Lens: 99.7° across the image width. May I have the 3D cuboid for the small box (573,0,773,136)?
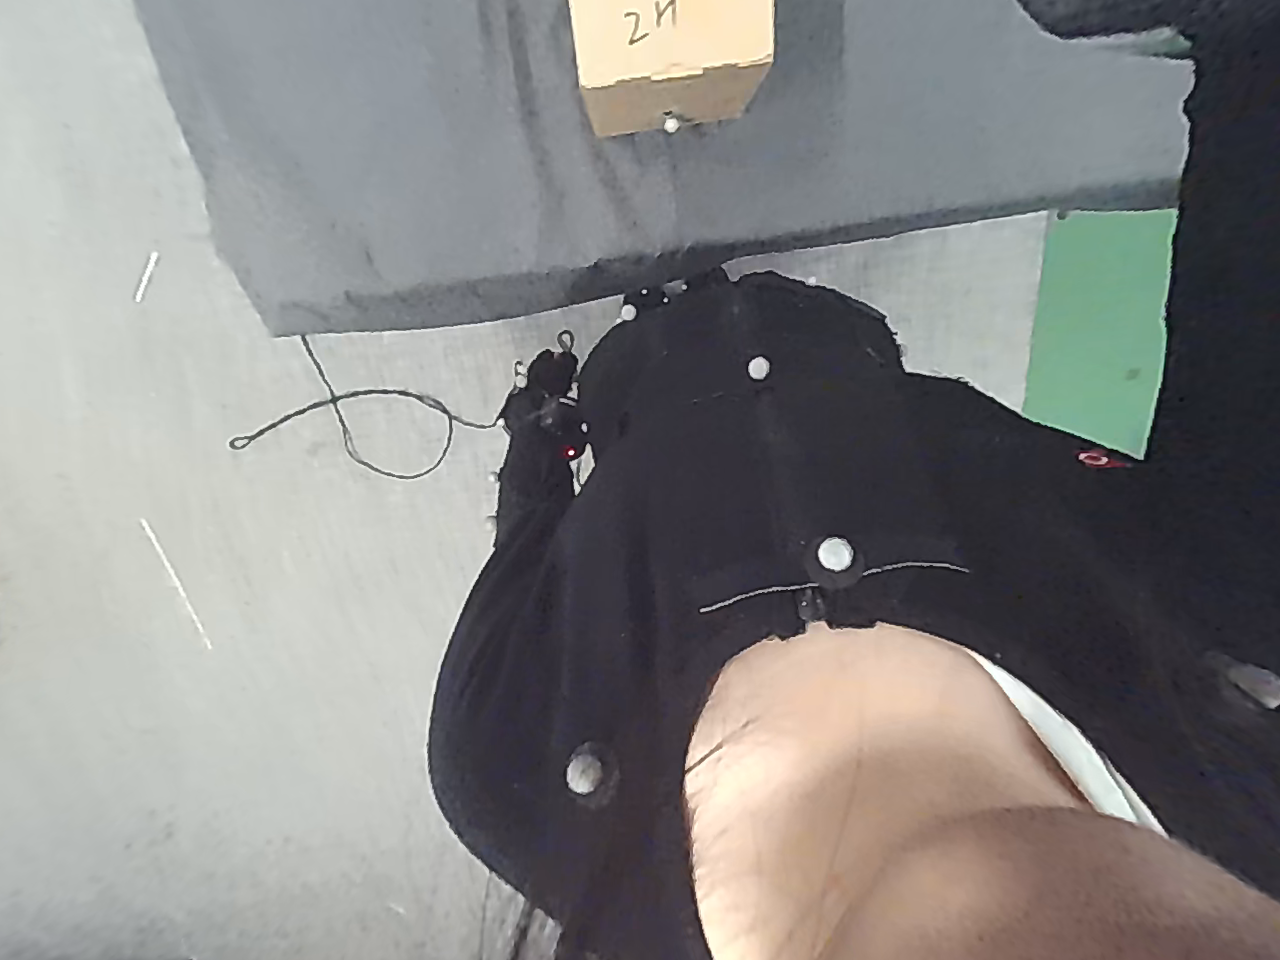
[{"bbox_3d":[0.023,-0.449,0.503,0.168,0.176,0.179,-6,111,3],"label":"small box"}]
